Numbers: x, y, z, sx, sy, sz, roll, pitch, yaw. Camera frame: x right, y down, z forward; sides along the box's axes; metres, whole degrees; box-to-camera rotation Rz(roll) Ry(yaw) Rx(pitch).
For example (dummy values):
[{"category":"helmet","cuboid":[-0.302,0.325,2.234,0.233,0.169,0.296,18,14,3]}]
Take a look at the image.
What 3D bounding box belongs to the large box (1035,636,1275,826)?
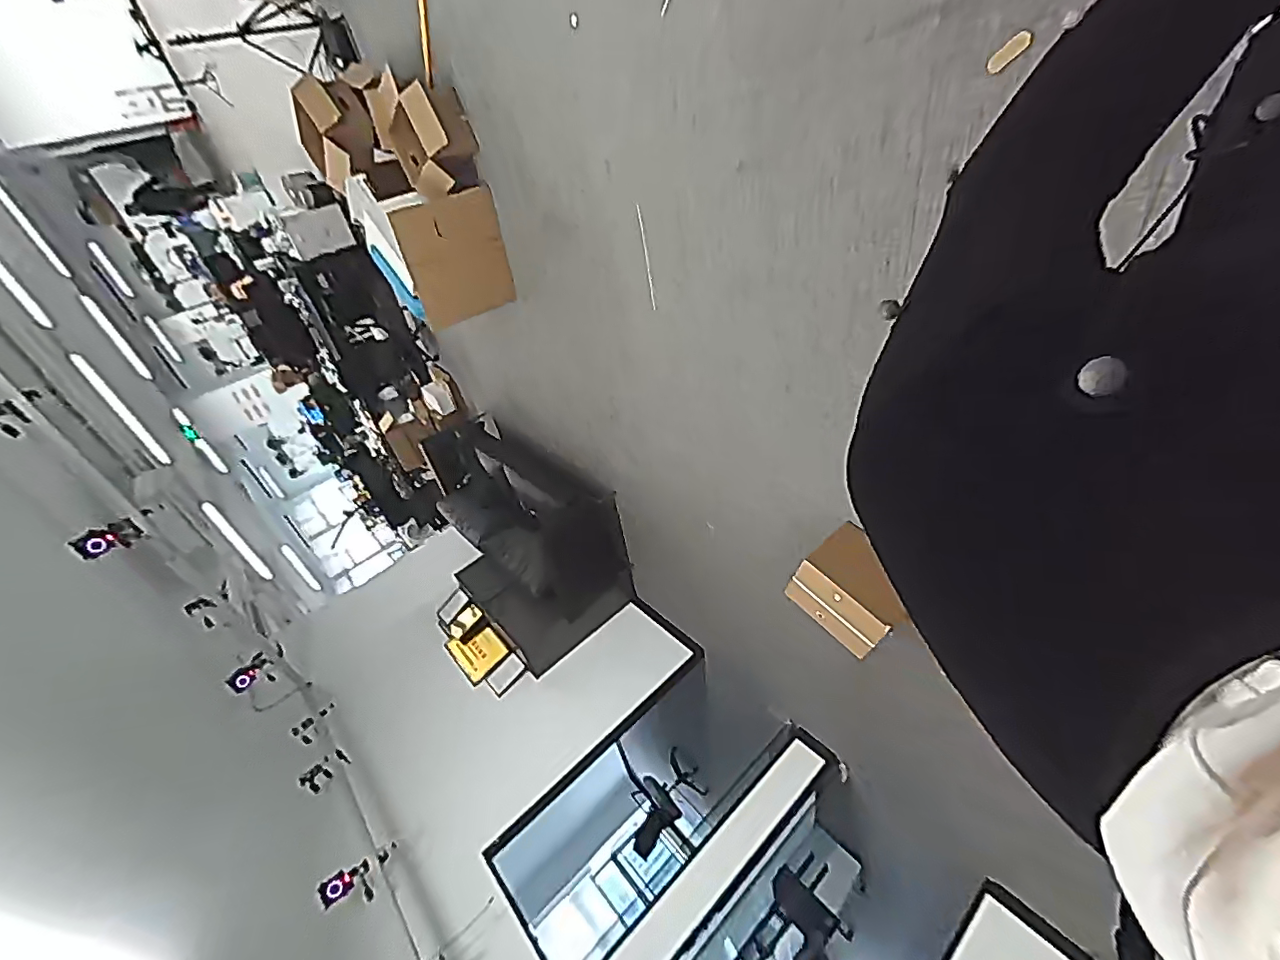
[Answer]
[{"category":"large box","cuboid":[1.481,0.690,1.572,0.320,0.320,0.408,60,152,-9]}]
